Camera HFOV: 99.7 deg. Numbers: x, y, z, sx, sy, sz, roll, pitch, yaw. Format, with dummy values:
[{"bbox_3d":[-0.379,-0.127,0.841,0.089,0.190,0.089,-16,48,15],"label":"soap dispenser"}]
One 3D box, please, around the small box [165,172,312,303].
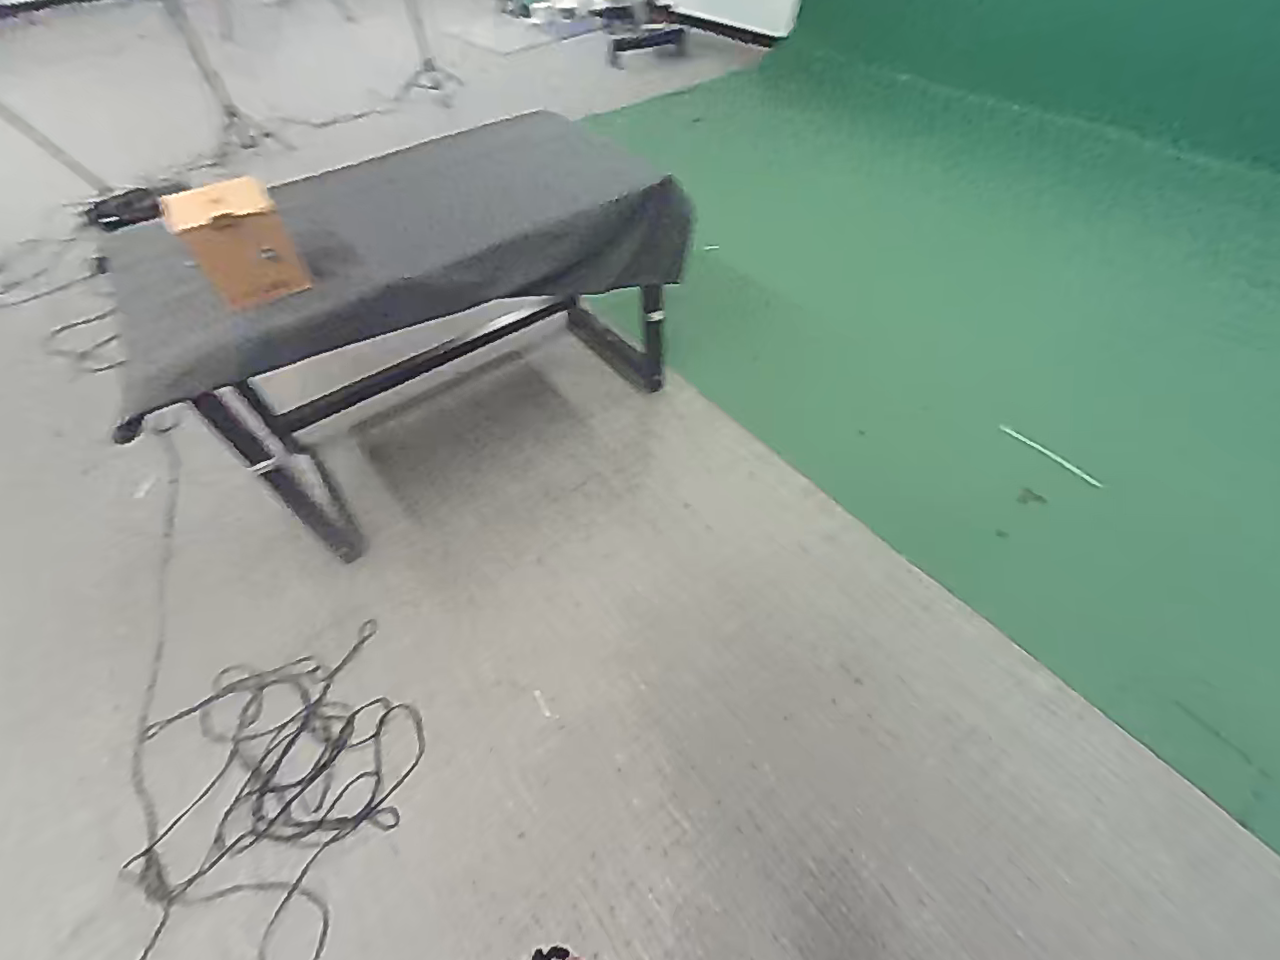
[{"bbox_3d":[-0.779,-0.470,1.062,0.168,0.176,0.179,-28,54,-20],"label":"small box"}]
